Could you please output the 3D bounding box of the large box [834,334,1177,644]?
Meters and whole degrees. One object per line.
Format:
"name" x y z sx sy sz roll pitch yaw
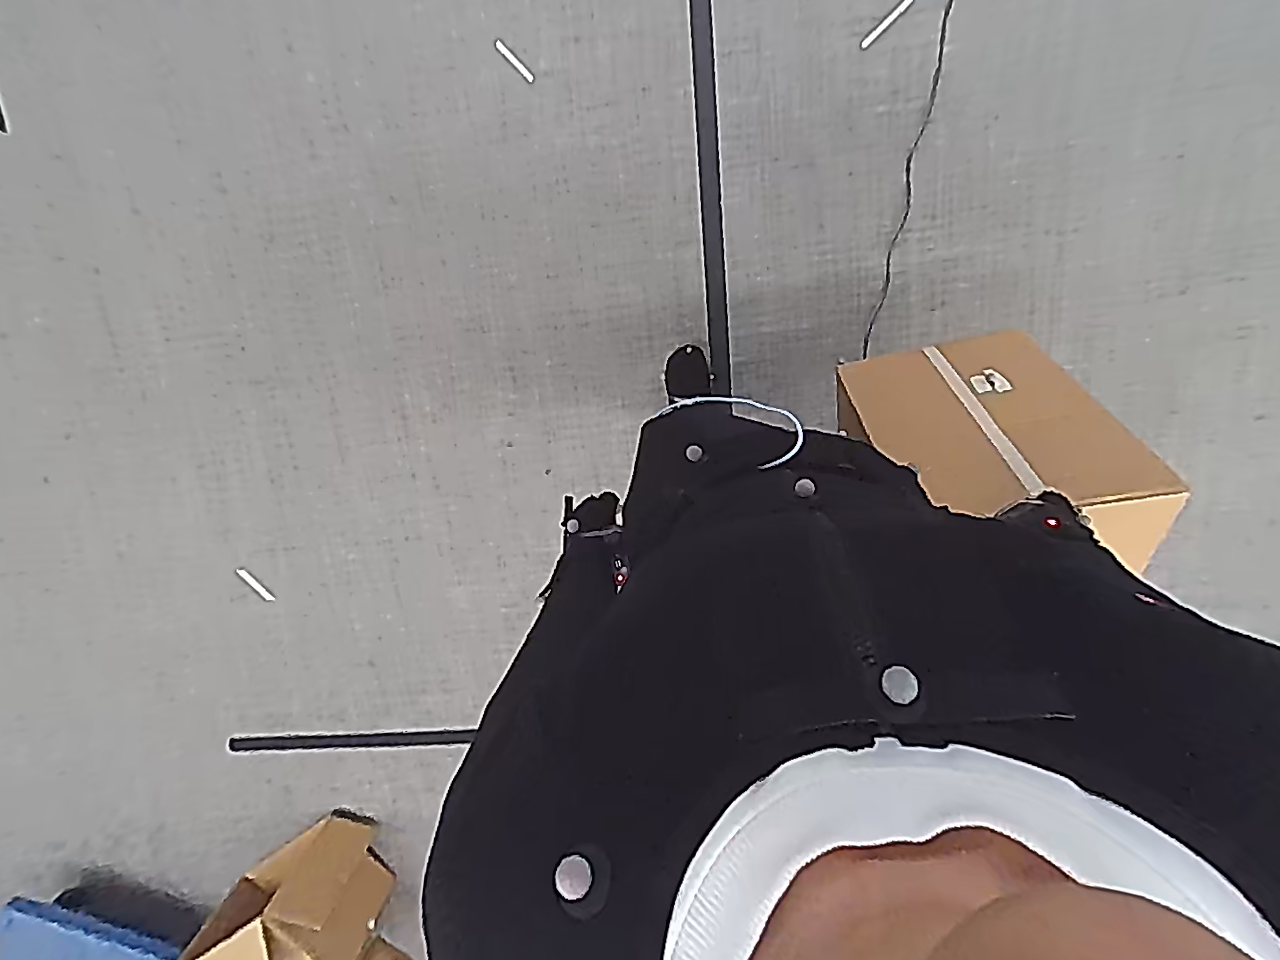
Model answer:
"large box" 0.540 0.009 0.917 0.320 0.408 0.320 -9 131 8
